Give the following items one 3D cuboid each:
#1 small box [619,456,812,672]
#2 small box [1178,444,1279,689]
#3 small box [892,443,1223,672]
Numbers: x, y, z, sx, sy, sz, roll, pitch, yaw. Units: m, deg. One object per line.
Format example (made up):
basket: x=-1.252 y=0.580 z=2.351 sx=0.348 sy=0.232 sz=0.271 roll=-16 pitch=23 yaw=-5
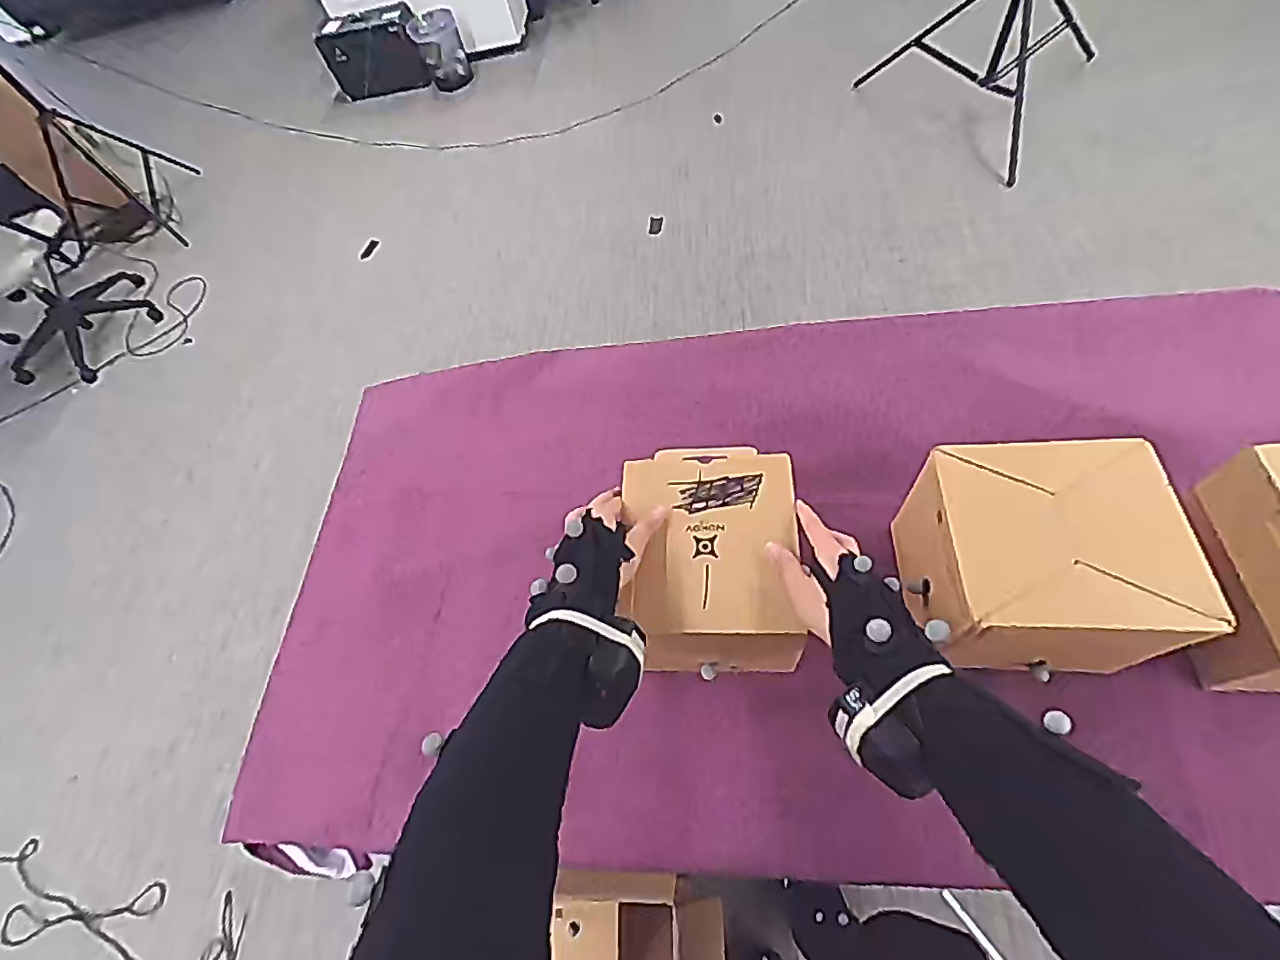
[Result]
small box: x=0.079 y=0.093 z=0.567 sx=0.168 sy=0.176 sz=0.179 roll=-3 pitch=60 yaw=10
small box: x=0.604 y=0.081 z=0.464 sx=0.179 sy=0.176 sz=0.168 roll=-2 pitch=58 yaw=10
small box: x=0.363 y=0.078 z=0.514 sx=0.179 sy=0.176 sz=0.168 roll=-2 pitch=59 yaw=11
